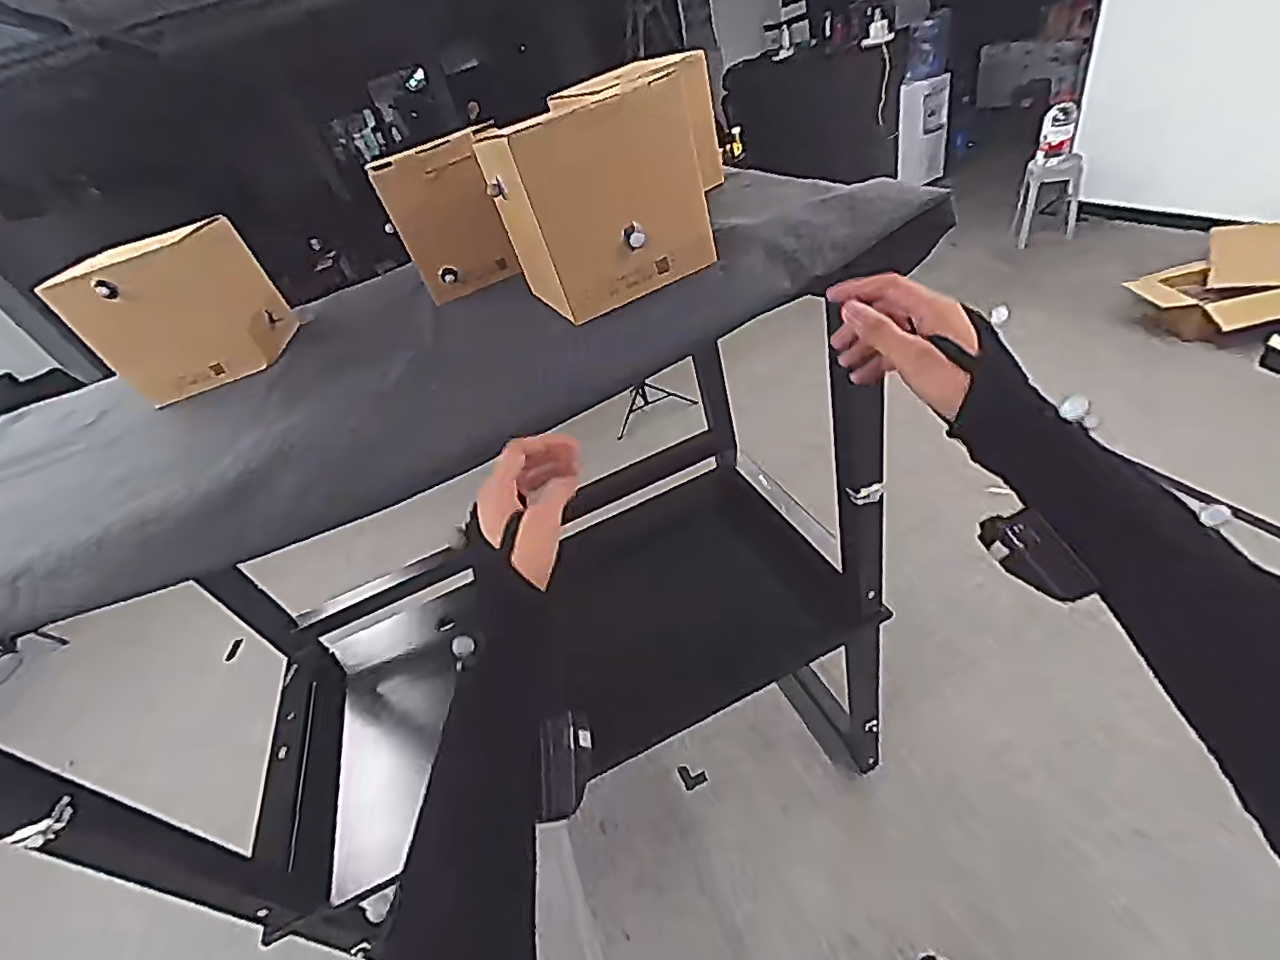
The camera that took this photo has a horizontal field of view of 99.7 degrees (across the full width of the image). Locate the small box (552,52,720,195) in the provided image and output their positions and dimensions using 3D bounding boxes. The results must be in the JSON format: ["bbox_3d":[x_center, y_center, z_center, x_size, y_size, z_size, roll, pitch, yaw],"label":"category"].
[{"bbox_3d":[-0.003,-0.507,0.811,0.168,0.176,0.179,-33,42,-15],"label":"small box"}]

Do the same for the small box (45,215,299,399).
[{"bbox_3d":[-0.602,-0.235,0.732,0.168,0.176,0.179,-22,38,-4],"label":"small box"}]

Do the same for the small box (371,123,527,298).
[{"bbox_3d":[-0.252,-0.375,0.757,0.168,0.176,0.179,-26,37,-9],"label":"small box"}]

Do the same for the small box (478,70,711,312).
[{"bbox_3d":[-0.047,-0.294,0.567,0.168,0.176,0.179,-28,37,-10],"label":"small box"}]
